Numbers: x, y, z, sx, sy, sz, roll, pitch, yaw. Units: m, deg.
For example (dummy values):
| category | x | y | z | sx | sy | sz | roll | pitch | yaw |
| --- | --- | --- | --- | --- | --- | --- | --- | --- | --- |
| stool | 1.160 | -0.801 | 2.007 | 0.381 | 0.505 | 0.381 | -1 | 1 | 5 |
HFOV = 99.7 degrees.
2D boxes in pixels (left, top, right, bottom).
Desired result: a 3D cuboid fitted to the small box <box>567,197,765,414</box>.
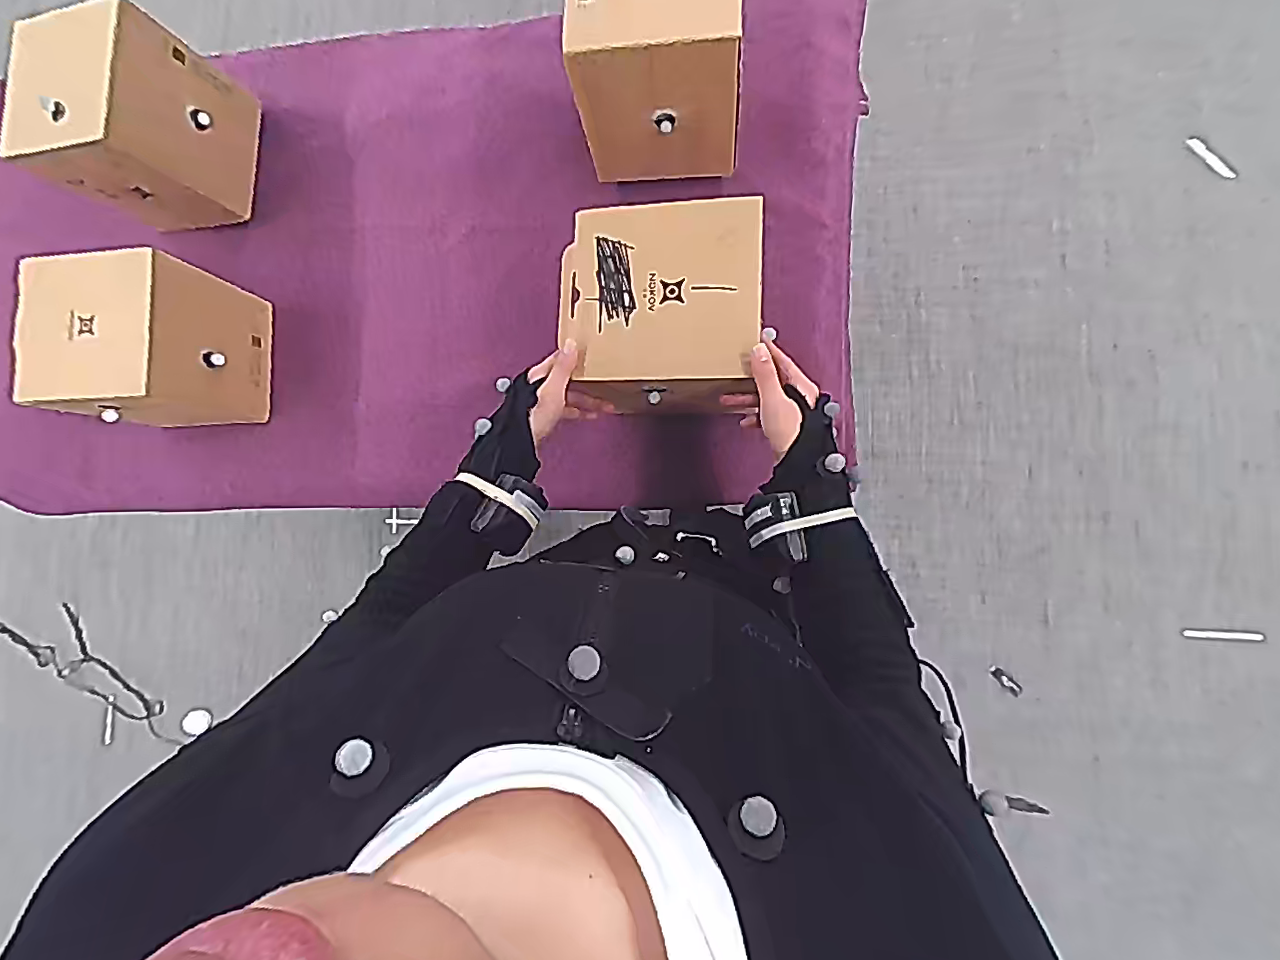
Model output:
| category | x | y | z | sx | sy | sz | roll | pitch | yaw |
| --- | --- | --- | --- | --- | --- | --- | --- | --- | --- |
| small box | 0.037 | -0.164 | 0.564 | 0.179 | 0.176 | 0.168 | 2 | 87 | 11 |

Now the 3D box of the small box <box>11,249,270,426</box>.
| category | x | y | z | sx | sy | sz | roll | pitch | yaw |
| --- | --- | --- | --- | --- | --- | --- | --- | --- | --- |
| small box | -0.594 | -0.161 | 0.665 | 0.179 | 0.176 | 0.168 | -1 | 86 | 8 |

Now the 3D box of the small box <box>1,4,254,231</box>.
| category | x | y | z | sx | sy | sz | roll | pitch | yaw |
| --- | --- | --- | --- | --- | --- | --- | --- | --- | --- |
| small box | -0.618 | -0.436 | 0.670 | 0.179 | 0.168 | 0.176 | 3 | 86 | 15 |
